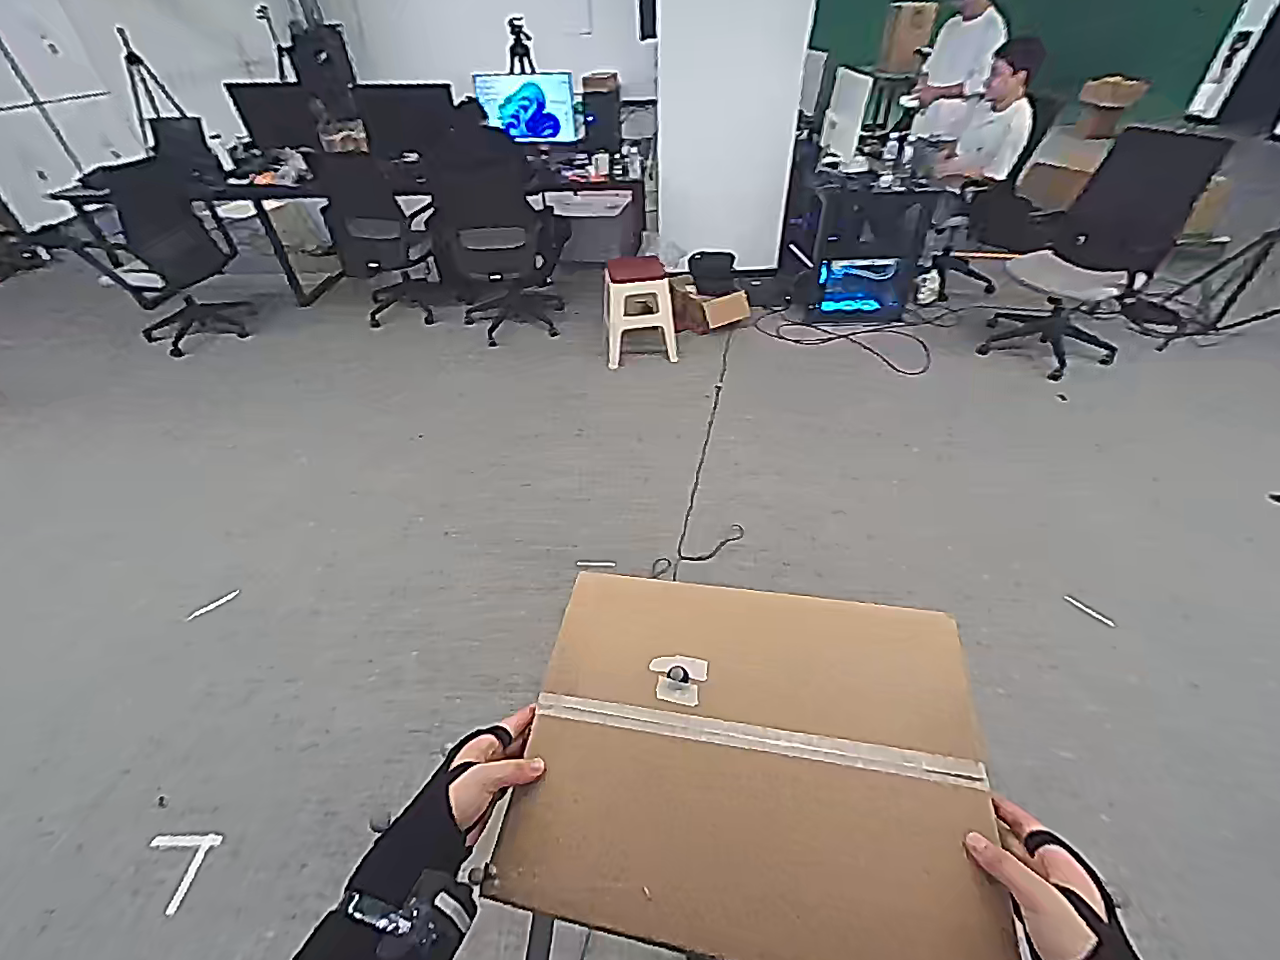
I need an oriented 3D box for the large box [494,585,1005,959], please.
[{"bbox_3d":[0.113,0.345,0.624,0.408,0.320,0.320,3,48,12],"label":"large box"}]
